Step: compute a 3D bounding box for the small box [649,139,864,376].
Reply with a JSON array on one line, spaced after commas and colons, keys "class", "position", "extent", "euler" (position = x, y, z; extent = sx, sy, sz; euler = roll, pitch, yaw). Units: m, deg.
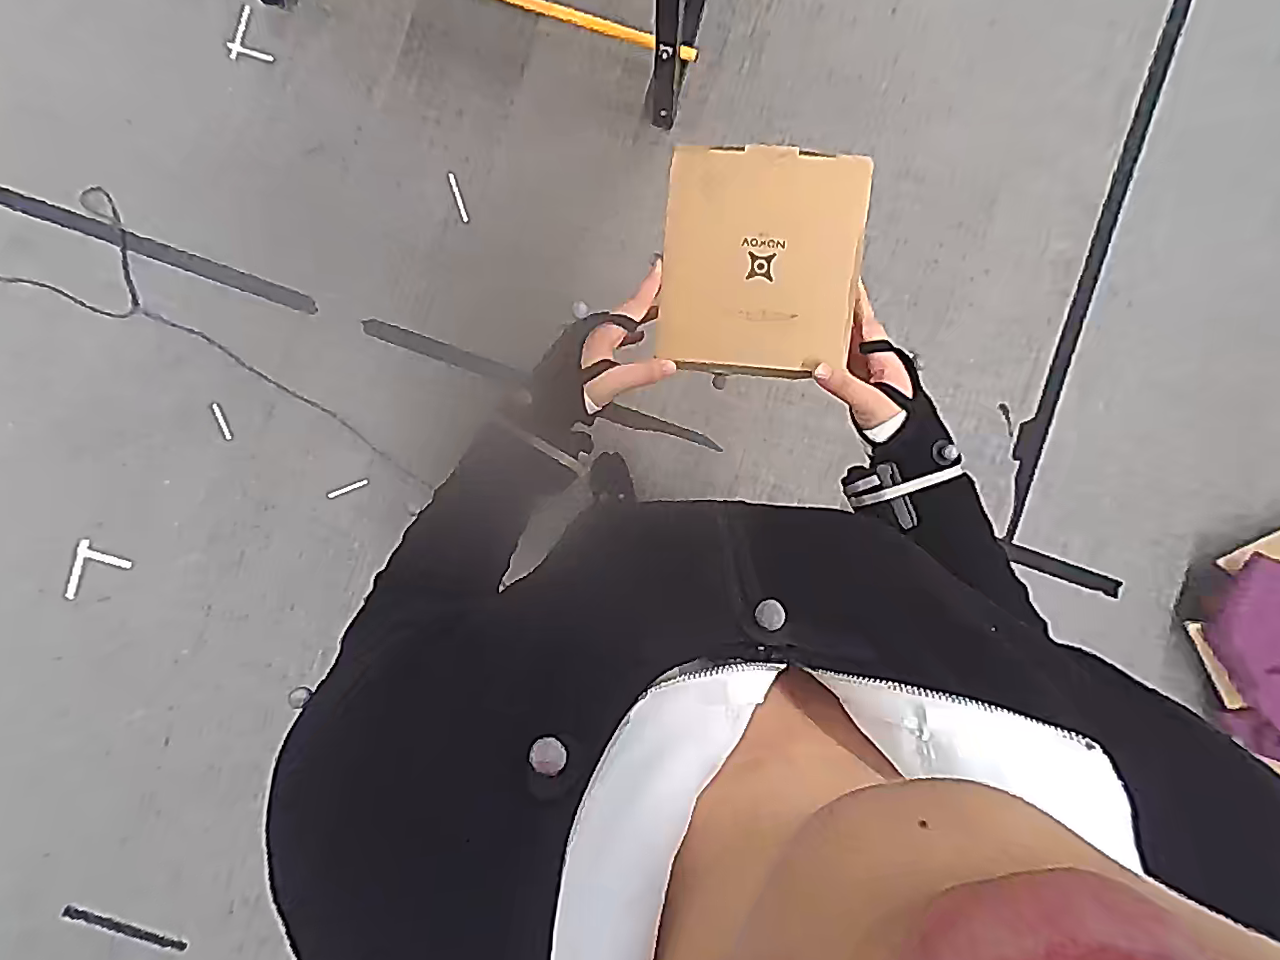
[{"class": "small box", "position": [0.099, -0.201, 0.535], "extent": [0.168, 0.176, 0.179], "euler": [5, 100, 2]}]
